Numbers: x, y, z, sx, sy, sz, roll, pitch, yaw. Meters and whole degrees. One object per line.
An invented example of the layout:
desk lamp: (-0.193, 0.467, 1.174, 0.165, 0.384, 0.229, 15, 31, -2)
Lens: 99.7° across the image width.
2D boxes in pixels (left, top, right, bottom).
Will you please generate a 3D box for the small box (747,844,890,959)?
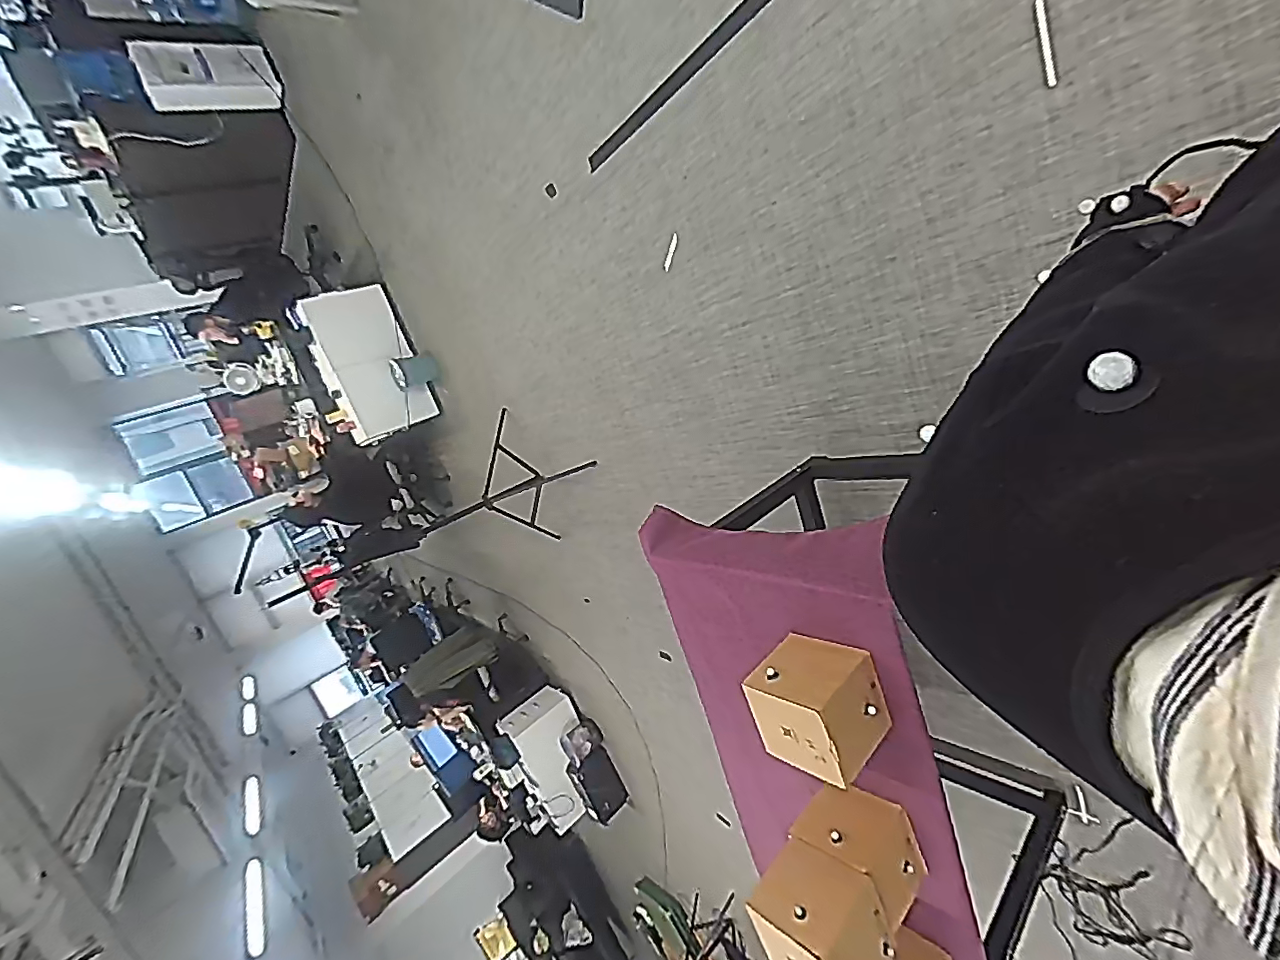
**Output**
small box: (0.336, 0.827, 0.998, 0.179, 0.176, 0.168, -8, 108, 54)

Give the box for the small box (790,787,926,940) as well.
small box: (0.446, 0.764, 1.104, 0.179, 0.176, 0.168, -10, 106, 54)

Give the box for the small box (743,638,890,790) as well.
small box: (0.326, 0.416, 0.998, 0.179, 0.176, 0.168, -3, 113, 53)
